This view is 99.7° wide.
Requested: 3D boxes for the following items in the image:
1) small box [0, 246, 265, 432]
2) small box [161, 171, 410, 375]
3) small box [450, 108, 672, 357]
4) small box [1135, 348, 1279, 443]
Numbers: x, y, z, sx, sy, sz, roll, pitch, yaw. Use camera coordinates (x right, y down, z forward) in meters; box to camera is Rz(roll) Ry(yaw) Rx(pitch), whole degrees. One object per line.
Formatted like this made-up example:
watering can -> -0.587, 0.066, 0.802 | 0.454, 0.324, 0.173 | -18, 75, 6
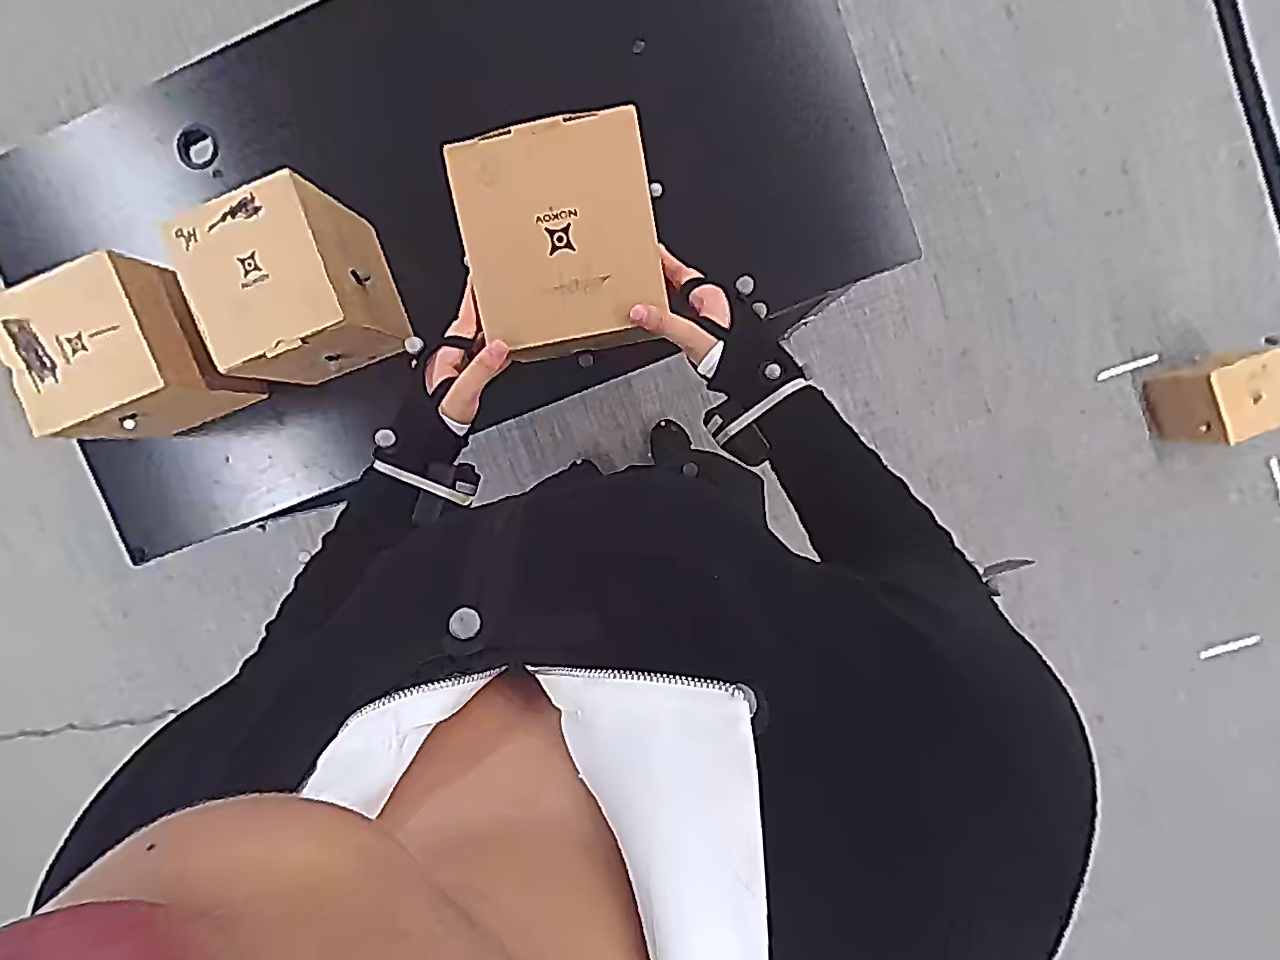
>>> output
small box -> -0.642, -0.165, 0.694 | 0.179, 0.176, 0.168 | -20, 95, 4
small box -> -0.422, -0.238, 0.678 | 0.168, 0.176, 0.179 | -19, 95, 4
small box -> -0.065, -0.225, 0.542 | 0.168, 0.176, 0.179 | -10, 101, 4
small box -> 1.375, -0.203, 1.316 | 0.168, 0.176, 0.179 | -21, 94, 5
